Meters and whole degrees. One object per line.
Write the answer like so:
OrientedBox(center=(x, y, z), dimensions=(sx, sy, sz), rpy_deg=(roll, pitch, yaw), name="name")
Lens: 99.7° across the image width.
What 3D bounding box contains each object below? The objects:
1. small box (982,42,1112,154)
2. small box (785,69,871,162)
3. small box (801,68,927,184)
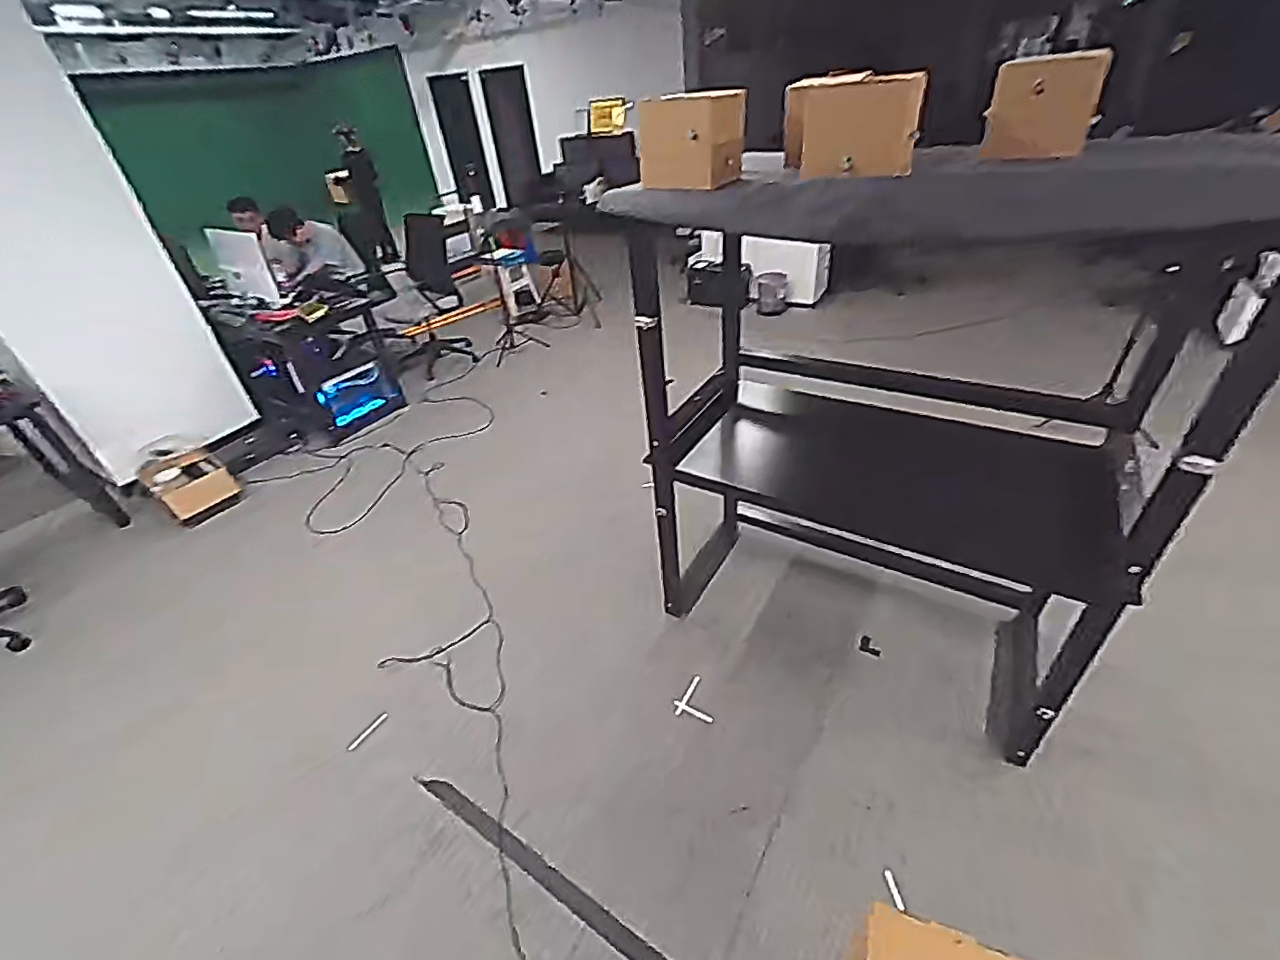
OrientedBox(center=(0.826, -0.779, 1.109), dimensions=(0.179, 0.176, 0.168), rpy_deg=(16, 43, 28), name="small box")
OrientedBox(center=(0.449, -0.873, 1.301), dimensions=(0.168, 0.176, 0.179), rpy_deg=(11, 40, 24), name="small box")
OrientedBox(center=(0.423, -0.675, 1.035), dimensions=(0.179, 0.176, 0.168), rpy_deg=(17, 41, 27), name="small box")
